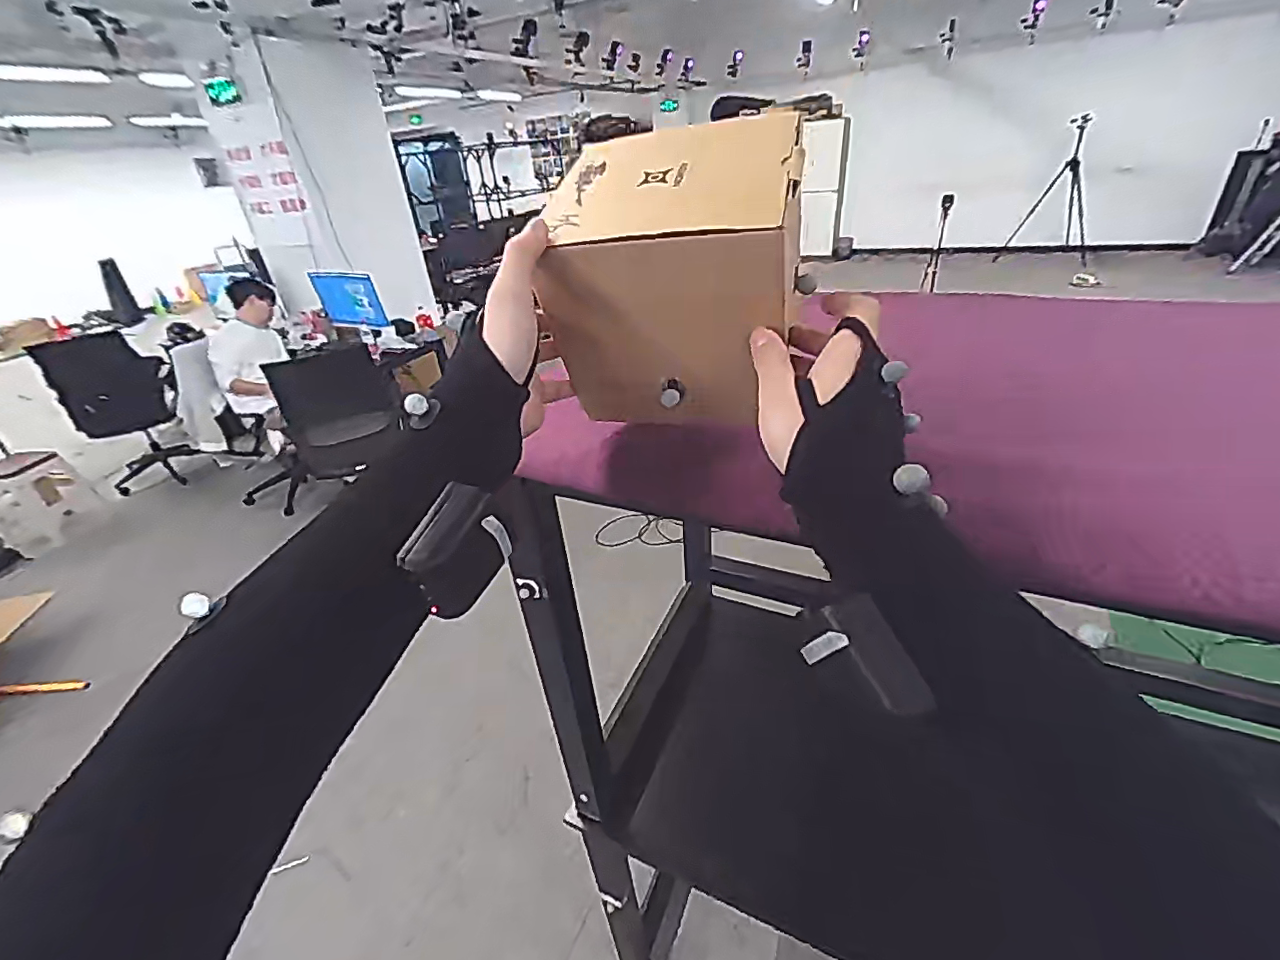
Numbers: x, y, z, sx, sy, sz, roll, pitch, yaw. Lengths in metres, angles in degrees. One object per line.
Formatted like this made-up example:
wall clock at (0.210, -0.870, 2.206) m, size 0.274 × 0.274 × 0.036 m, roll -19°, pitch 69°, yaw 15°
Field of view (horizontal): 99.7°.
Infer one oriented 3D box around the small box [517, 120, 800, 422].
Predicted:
small box at (0.033, -0.162, 0.447) m, size 0.179 × 0.176 × 0.168 m, roll 4°, pitch 52°, yaw 18°
